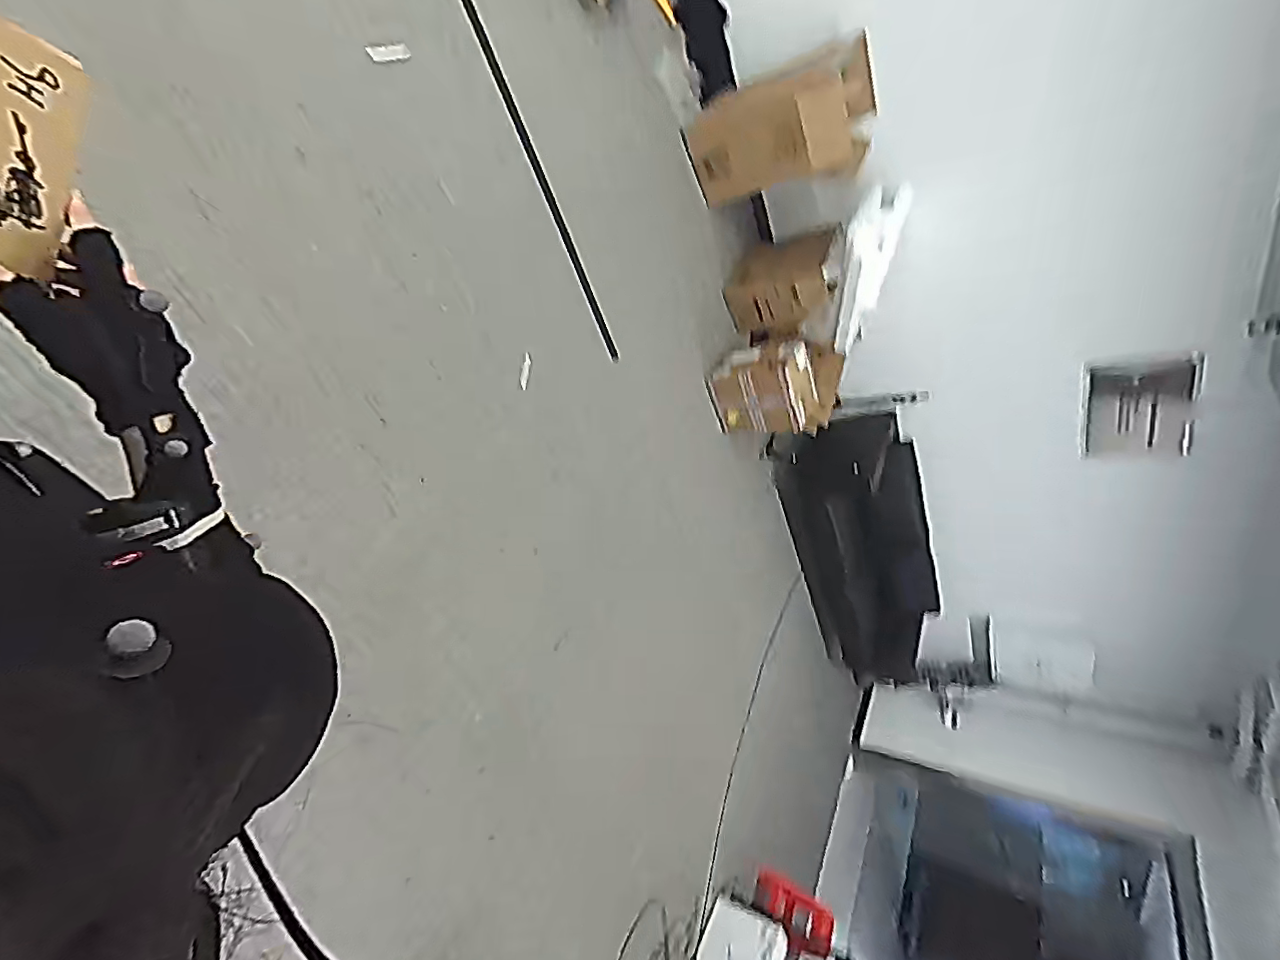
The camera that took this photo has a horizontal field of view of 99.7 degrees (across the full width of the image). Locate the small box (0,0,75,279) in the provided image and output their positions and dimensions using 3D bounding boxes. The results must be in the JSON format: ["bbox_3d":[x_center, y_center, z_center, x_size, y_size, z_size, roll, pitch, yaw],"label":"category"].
[{"bbox_3d":[-0.496,-0.232,0.321,0.179,0.176,0.168,9,94,-60],"label":"small box"}]
